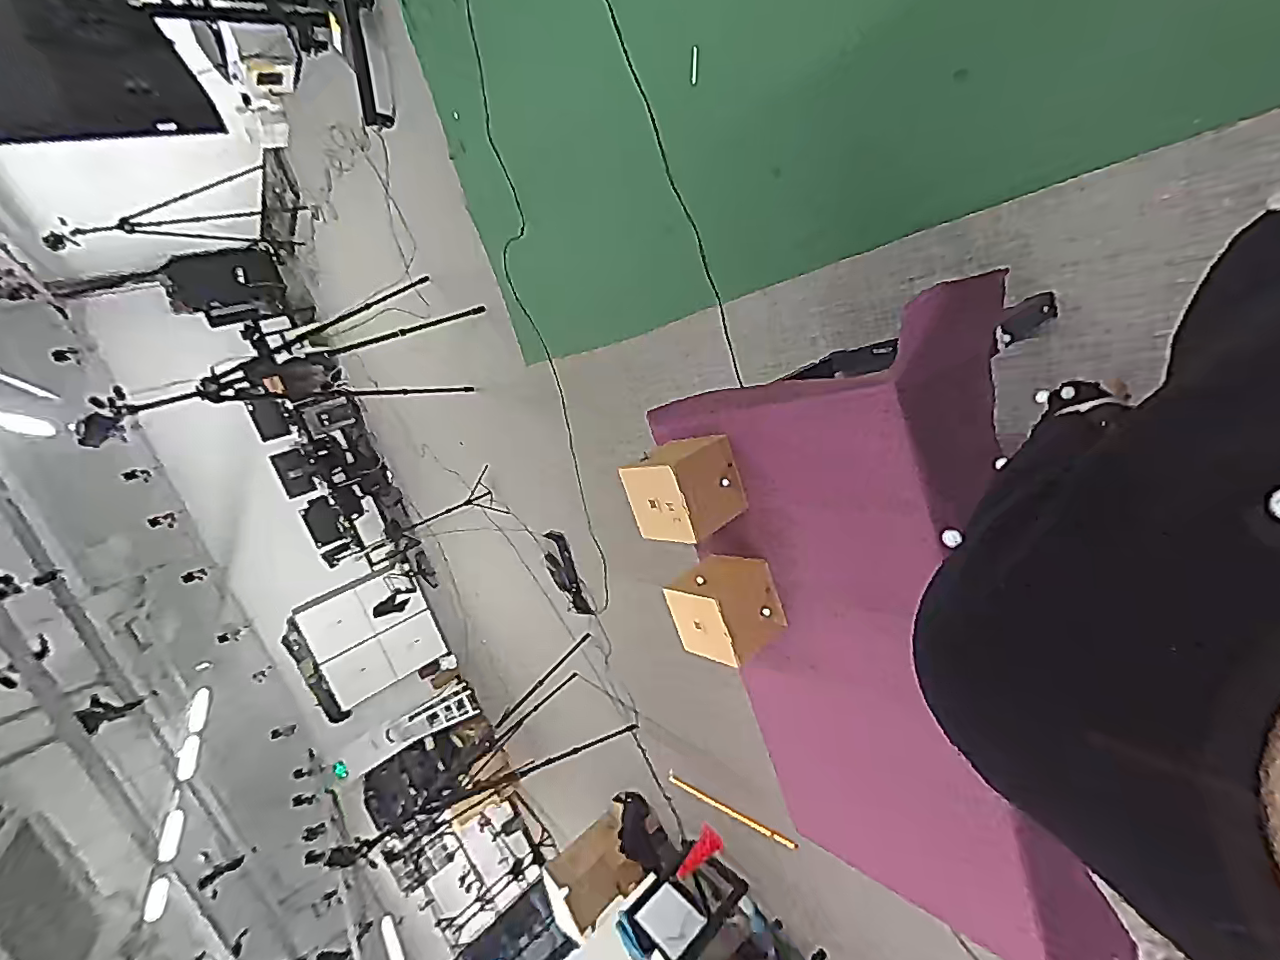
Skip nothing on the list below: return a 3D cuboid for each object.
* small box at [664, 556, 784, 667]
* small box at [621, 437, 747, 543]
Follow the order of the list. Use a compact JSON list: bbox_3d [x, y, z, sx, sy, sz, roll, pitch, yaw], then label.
[{"bbox_3d":[0.189,0.282,1.206,0.179,0.176,0.168,-4,109,54],"label":"small box"},{"bbox_3d":[0.095,0.017,1.138,0.179,0.176,0.168,-1,112,51],"label":"small box"}]
